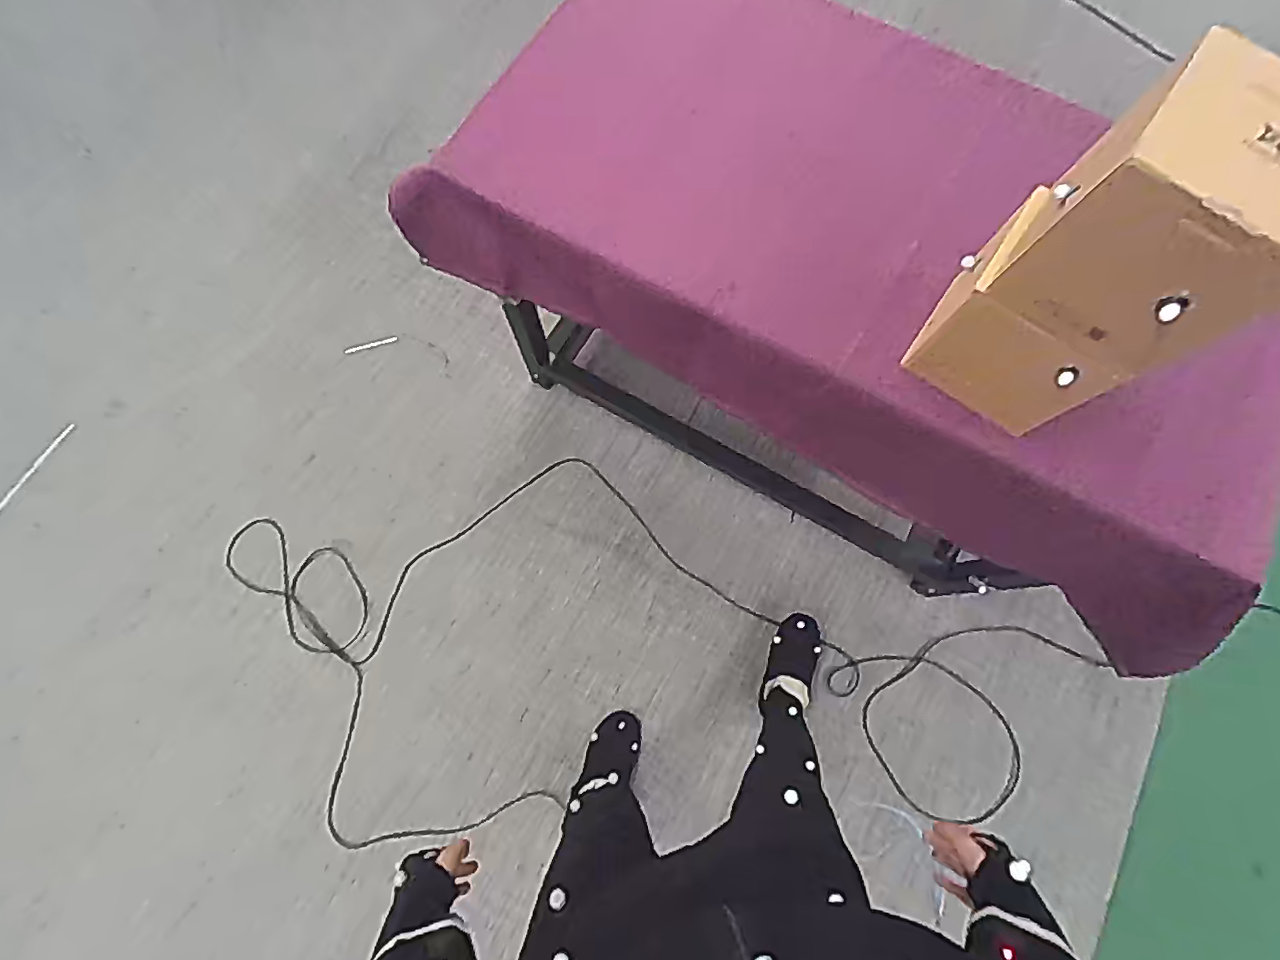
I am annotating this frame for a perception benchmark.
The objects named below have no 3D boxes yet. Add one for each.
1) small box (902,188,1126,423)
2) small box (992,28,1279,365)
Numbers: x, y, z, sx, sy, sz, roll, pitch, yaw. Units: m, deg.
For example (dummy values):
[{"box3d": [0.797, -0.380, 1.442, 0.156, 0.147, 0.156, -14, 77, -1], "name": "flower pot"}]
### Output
[{"box3d": [0.457, -0.196, 0.649, 0.179, 0.176, 0.168, 35, 76, 8], "name": "small box"}, {"box3d": [0.469, -0.239, 0.492, 0.168, 0.176, 0.179, 37, 76, 8], "name": "small box"}]
